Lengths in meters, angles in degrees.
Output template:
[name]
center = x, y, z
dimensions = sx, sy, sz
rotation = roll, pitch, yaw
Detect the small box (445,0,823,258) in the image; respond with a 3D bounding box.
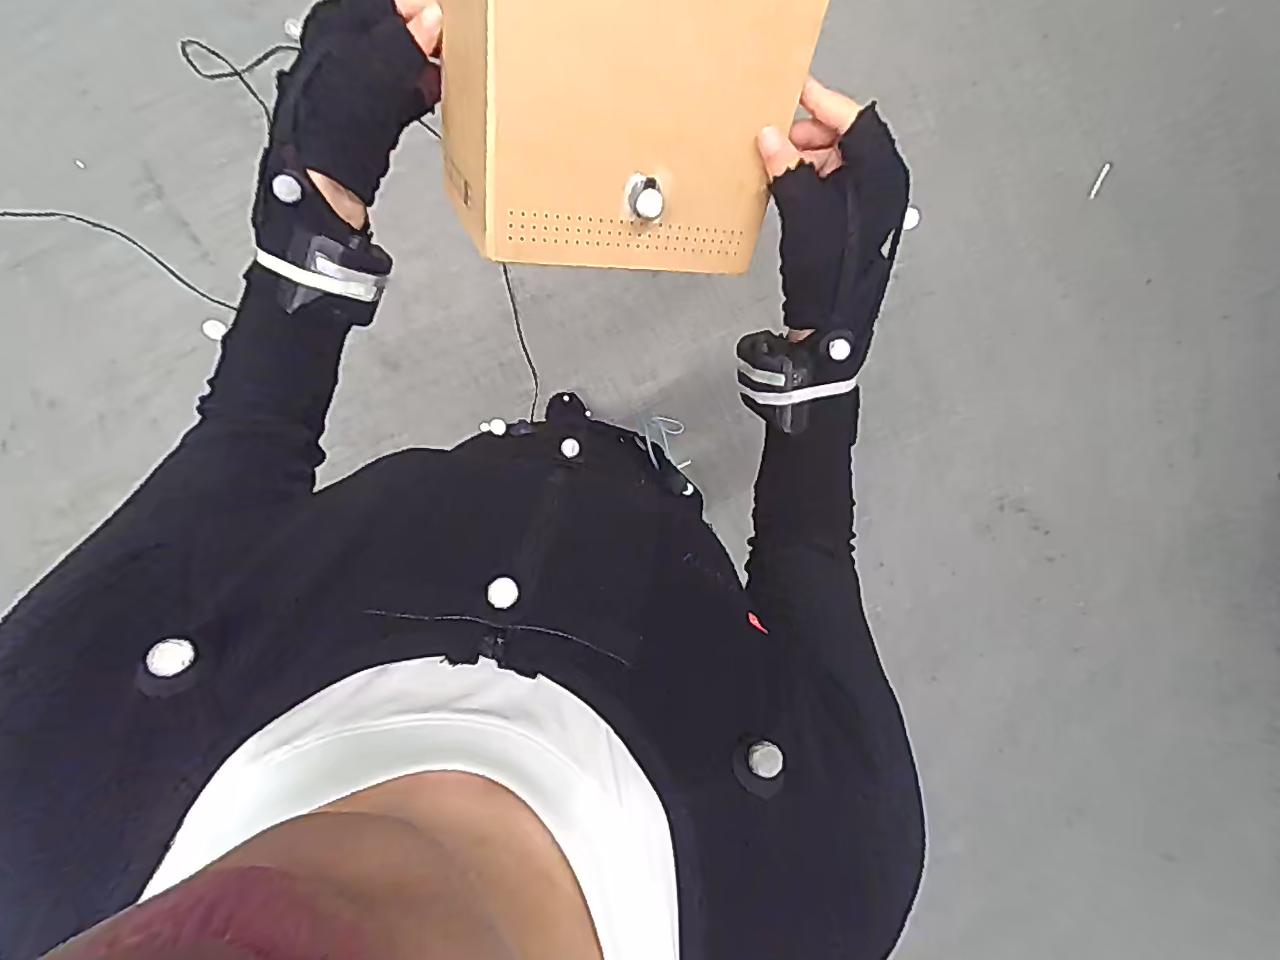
[small box]
center = -0.023, -0.253, 0.340
dimensions = 0.179, 0.168, 0.176
rotation = -7, 133, -25
